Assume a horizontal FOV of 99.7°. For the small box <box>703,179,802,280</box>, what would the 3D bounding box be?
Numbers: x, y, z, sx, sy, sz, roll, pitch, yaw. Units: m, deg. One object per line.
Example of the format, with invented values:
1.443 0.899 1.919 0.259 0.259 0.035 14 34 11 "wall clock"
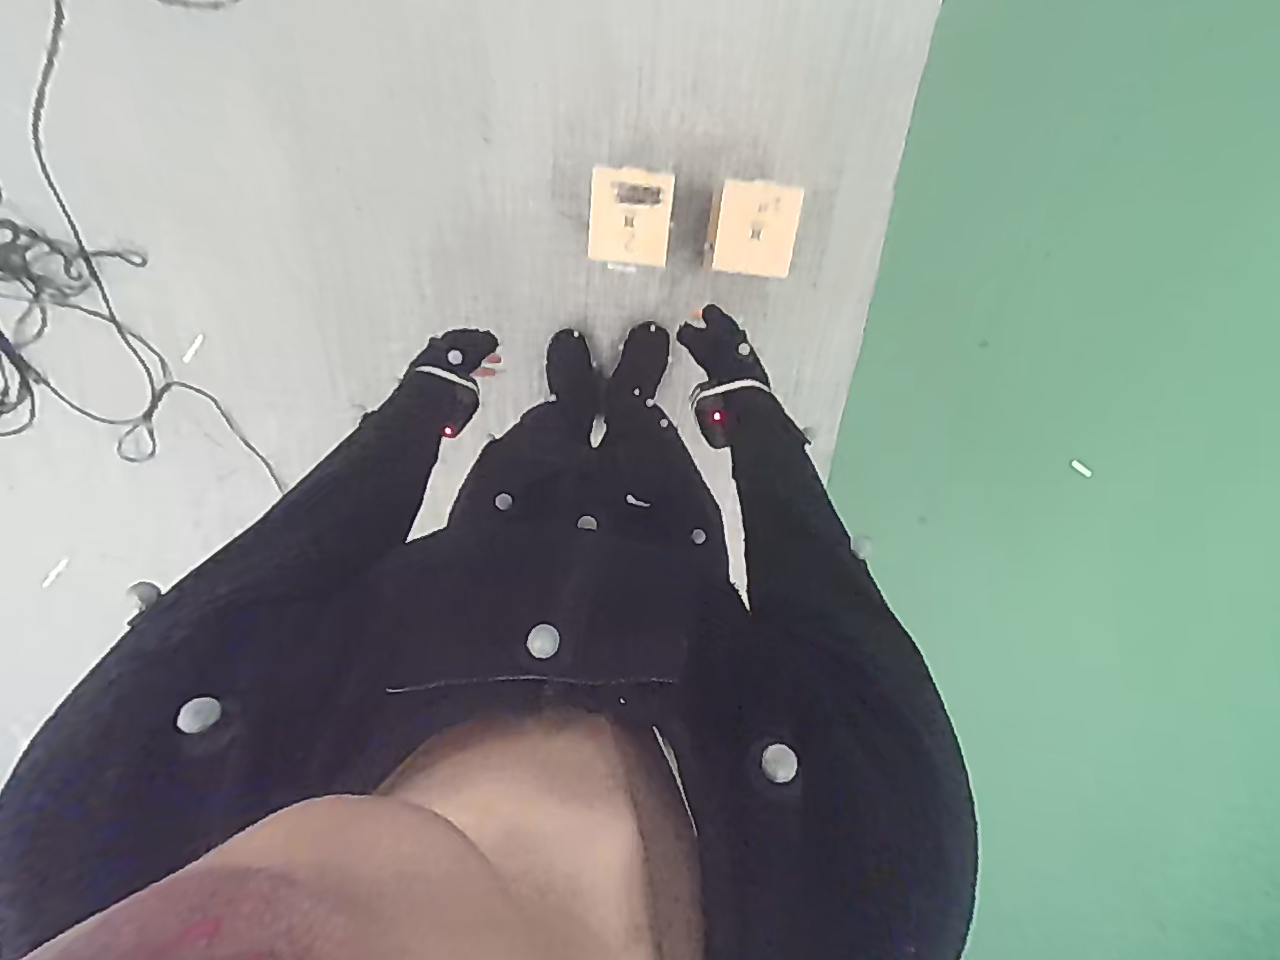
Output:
0.236 -0.542 1.183 0.168 0.176 0.179 5 112 -3 "small box"
